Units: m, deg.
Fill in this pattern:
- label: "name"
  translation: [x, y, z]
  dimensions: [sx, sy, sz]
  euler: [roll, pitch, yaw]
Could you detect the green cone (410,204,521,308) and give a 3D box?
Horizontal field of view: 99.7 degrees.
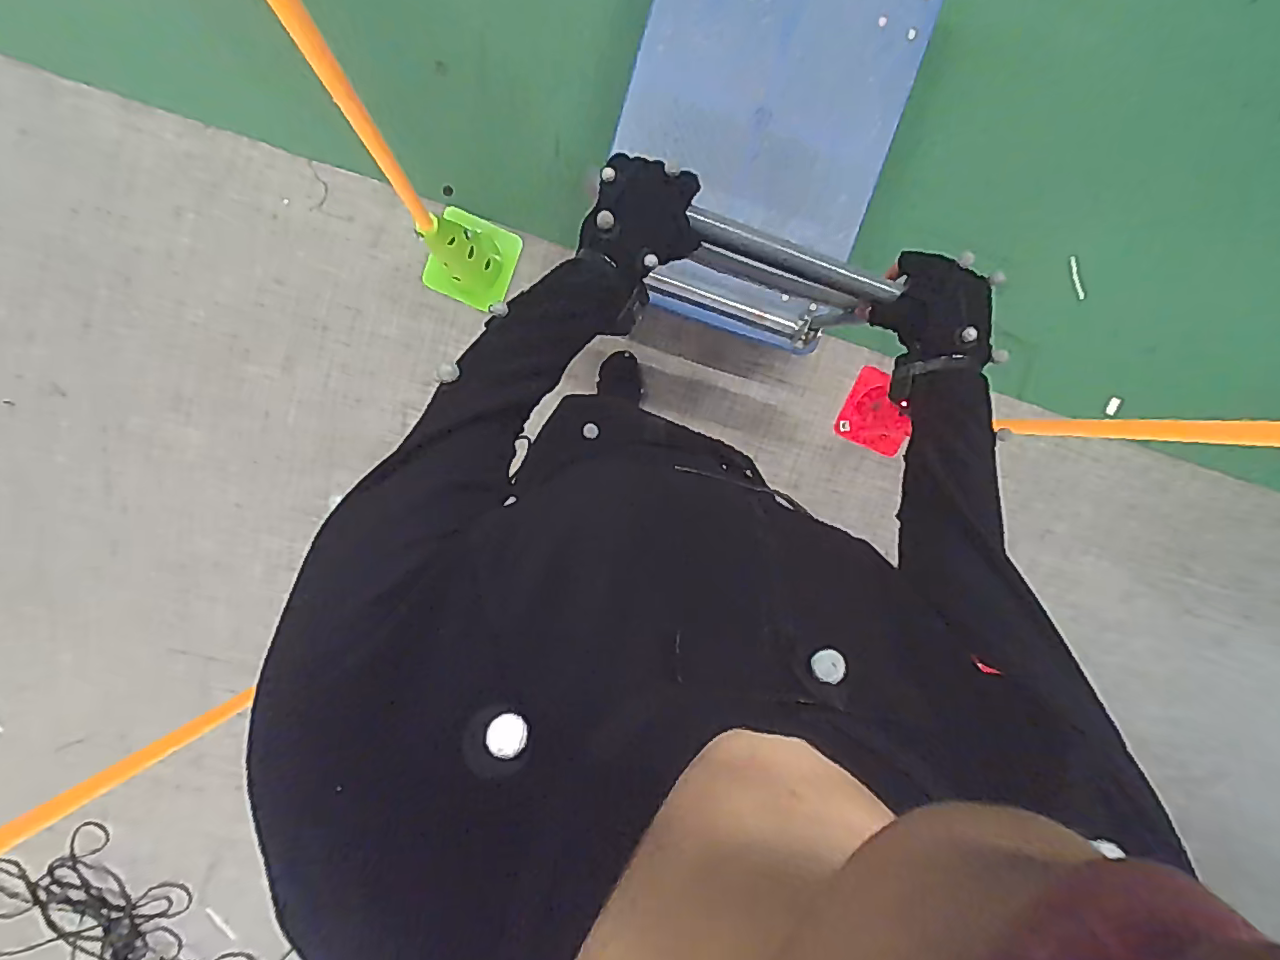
- label: "green cone"
  translation: [-0.406, -0.520, 1.167]
  dimensions: [0.202, 0.368, 0.200]
  euler: [21, 99, -7]
